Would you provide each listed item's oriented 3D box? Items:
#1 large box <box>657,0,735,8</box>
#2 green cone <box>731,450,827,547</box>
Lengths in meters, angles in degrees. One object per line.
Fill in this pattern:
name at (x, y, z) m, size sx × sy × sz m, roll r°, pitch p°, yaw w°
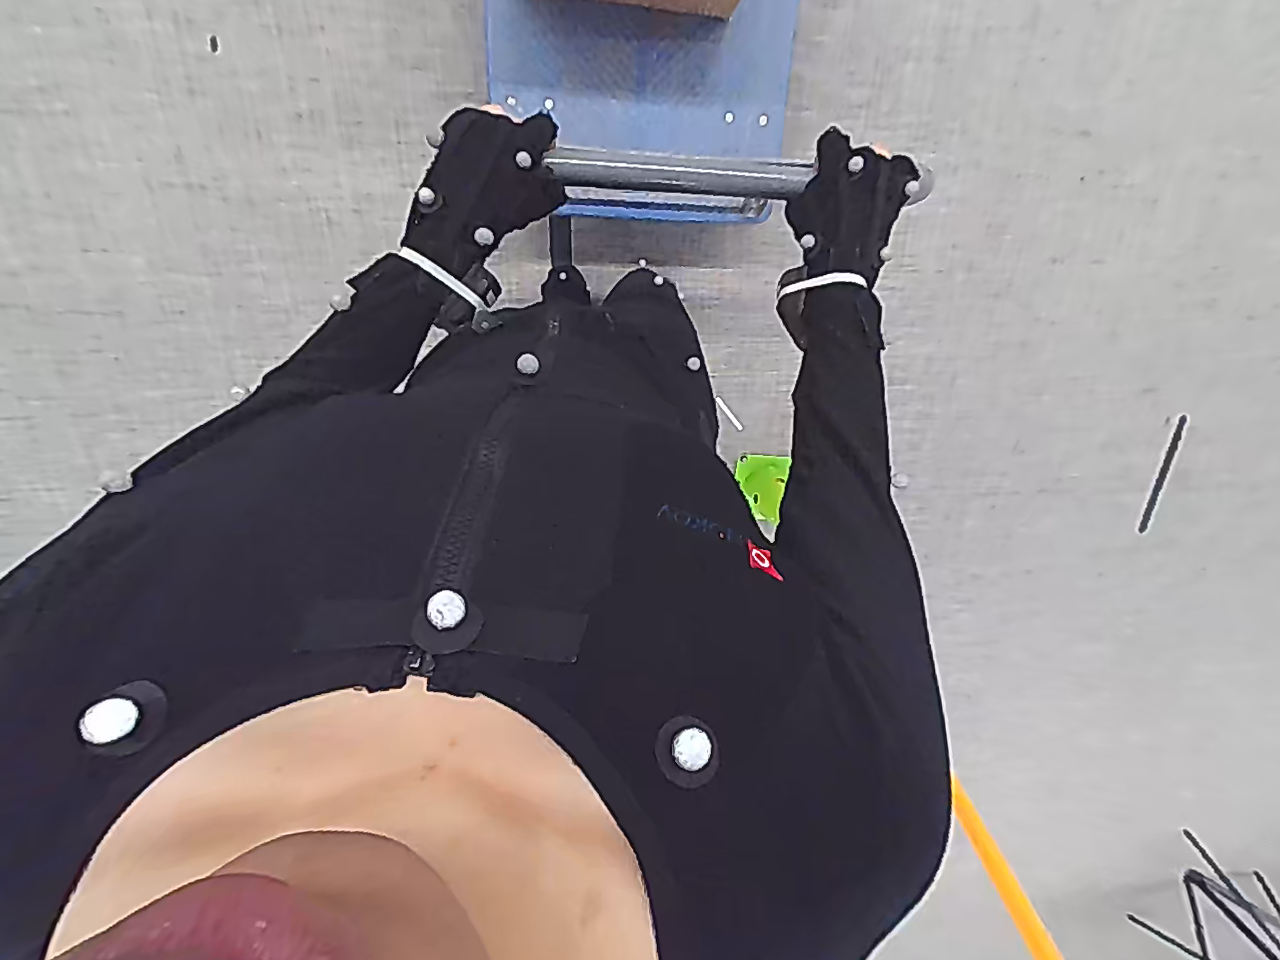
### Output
large box at (-0.005, -0.954, 0.789) m, size 0.408 × 0.320 × 0.320 m, roll 2°, pitch 113°, yaw -6°
green cone at (0.388, 0.074, 1.410) m, size 0.202 × 0.368 × 0.200 m, roll 2°, pitch 112°, yaw -8°
